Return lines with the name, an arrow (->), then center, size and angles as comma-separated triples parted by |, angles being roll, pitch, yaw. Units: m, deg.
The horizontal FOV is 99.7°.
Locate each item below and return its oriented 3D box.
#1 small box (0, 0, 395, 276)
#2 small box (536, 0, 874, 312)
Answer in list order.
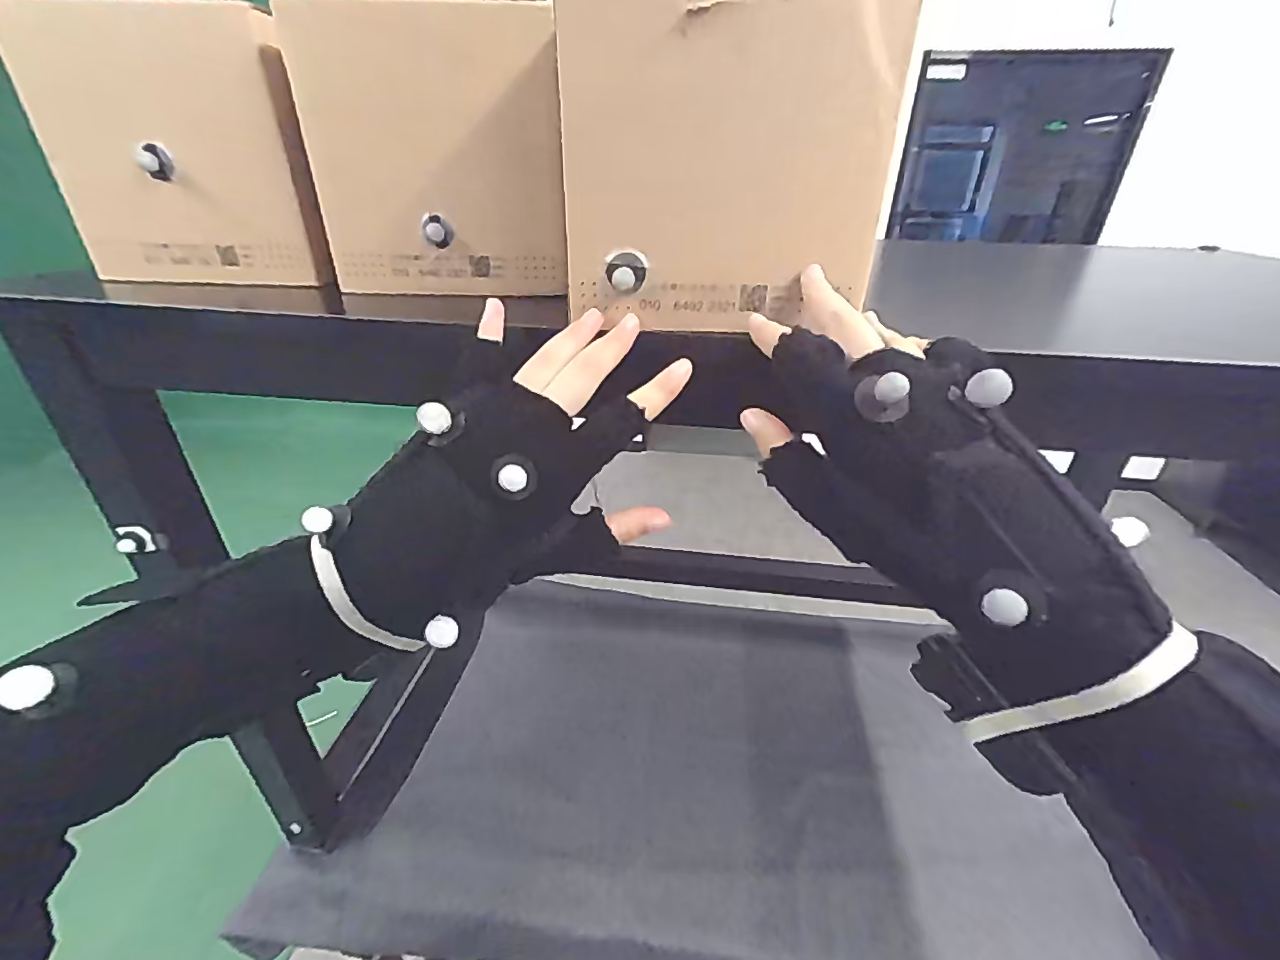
small box -> -0.328, -0.272, 0.455 | 0.168, 0.176, 0.179 | 3, 28, 0
small box -> 0.037, -0.211, 0.356 | 0.168, 0.176, 0.179 | 2, 28, 2
